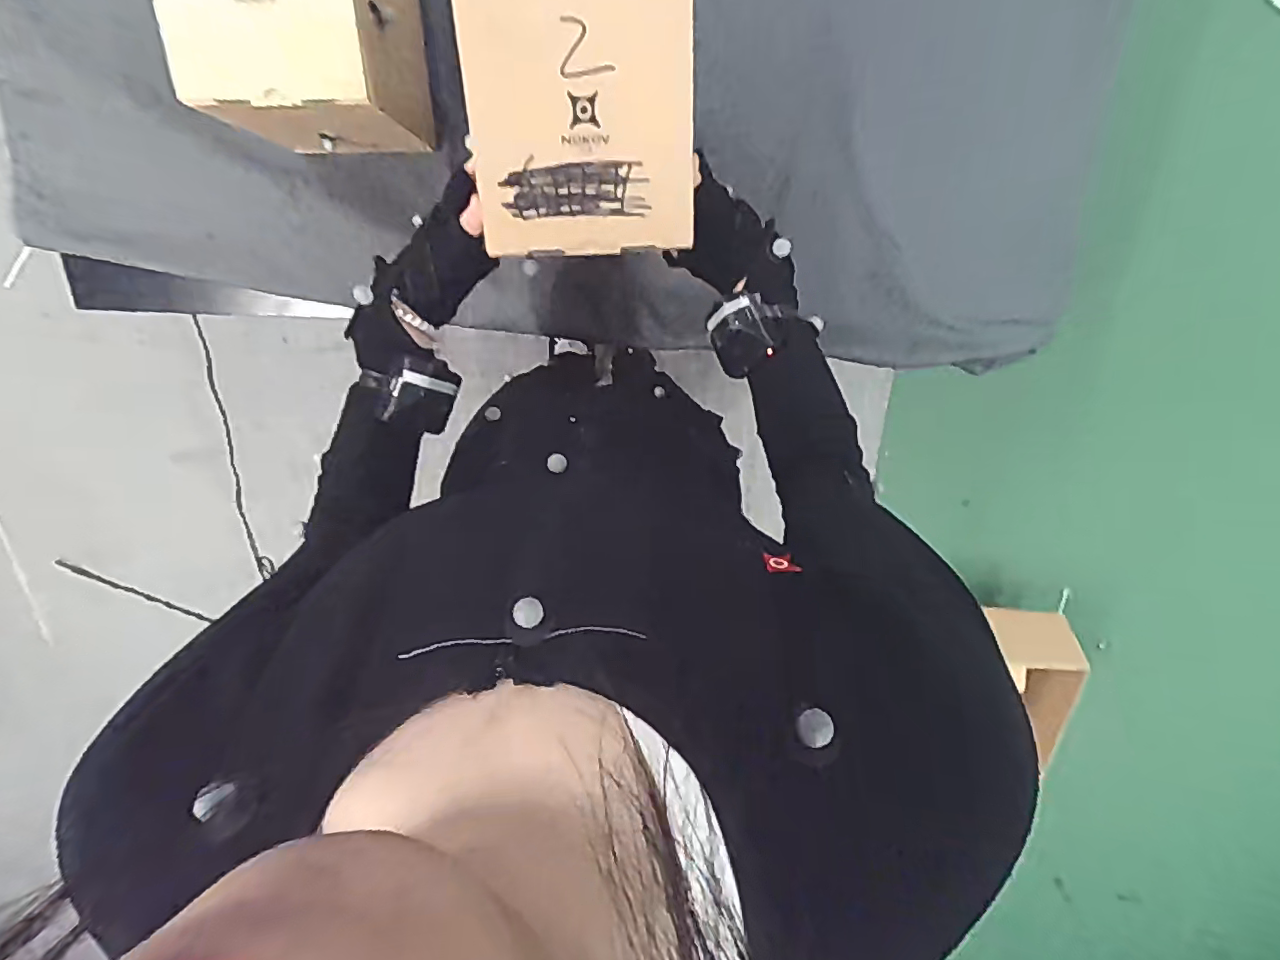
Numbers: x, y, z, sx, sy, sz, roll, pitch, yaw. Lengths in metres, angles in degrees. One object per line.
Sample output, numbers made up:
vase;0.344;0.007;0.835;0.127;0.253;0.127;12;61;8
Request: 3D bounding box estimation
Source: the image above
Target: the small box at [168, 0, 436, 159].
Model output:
small box;-0.315;-0.434;0.528;0.168;0.176;0.179;-1;110;-1
